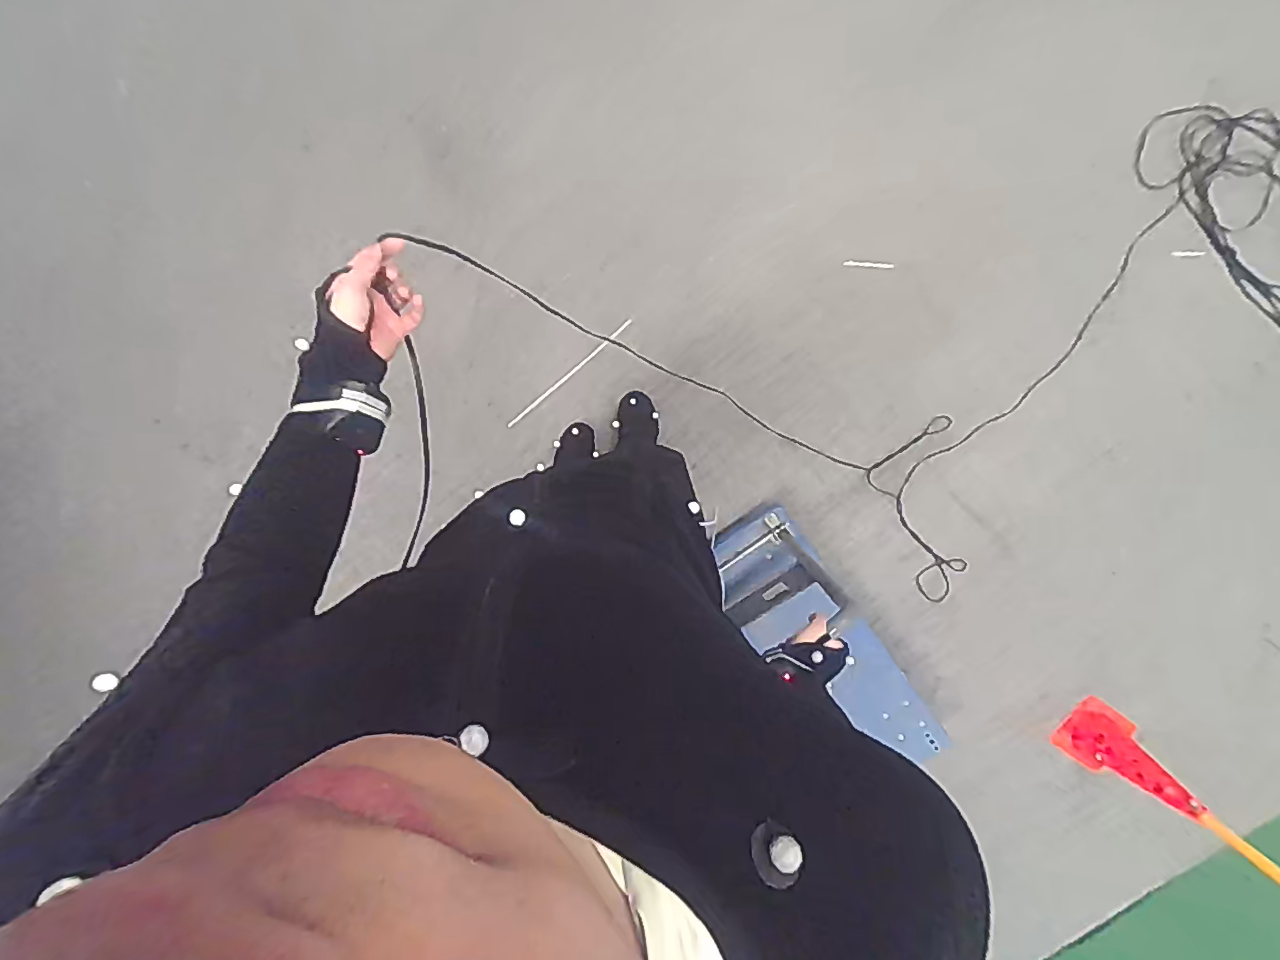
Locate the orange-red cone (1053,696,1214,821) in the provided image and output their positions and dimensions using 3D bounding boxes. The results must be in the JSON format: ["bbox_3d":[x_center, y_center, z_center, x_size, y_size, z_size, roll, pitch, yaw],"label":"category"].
[{"bbox_3d":[1.435,0.823,1.541,0.198,0.360,0.199,36,96,-5],"label":"orange-red cone"}]
